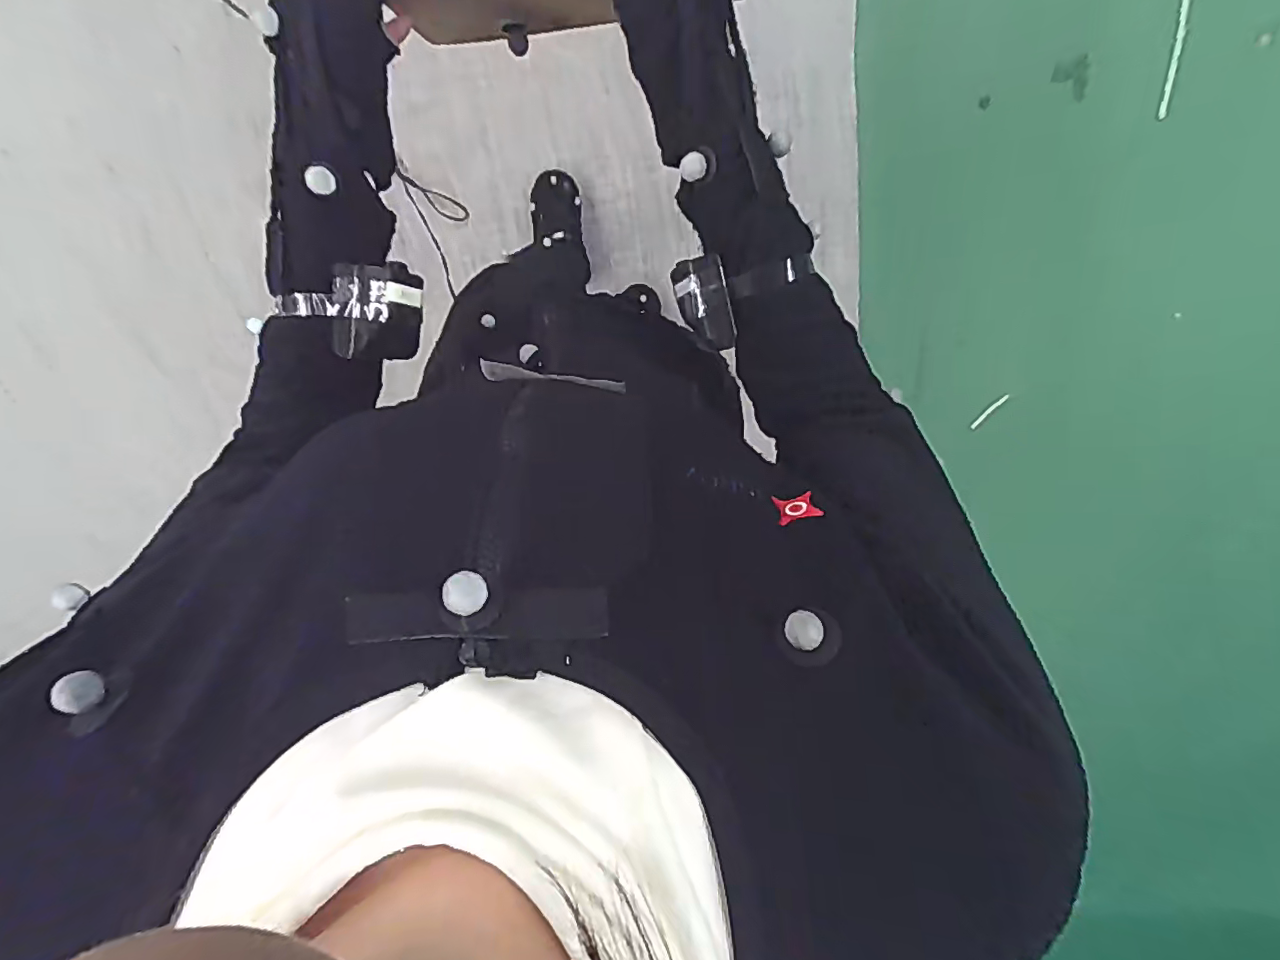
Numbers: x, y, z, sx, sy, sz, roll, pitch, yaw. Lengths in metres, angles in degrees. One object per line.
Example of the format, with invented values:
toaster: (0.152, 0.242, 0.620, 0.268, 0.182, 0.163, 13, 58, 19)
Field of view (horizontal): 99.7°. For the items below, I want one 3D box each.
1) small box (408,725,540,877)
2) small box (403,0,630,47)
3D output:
small box: (-0.299, 0.600, 1.021, 0.168, 0.176, 0.179, -14, 111, 5)
small box: (-0.095, -0.403, 0.328, 0.168, 0.176, 0.179, -7, 117, 2)
